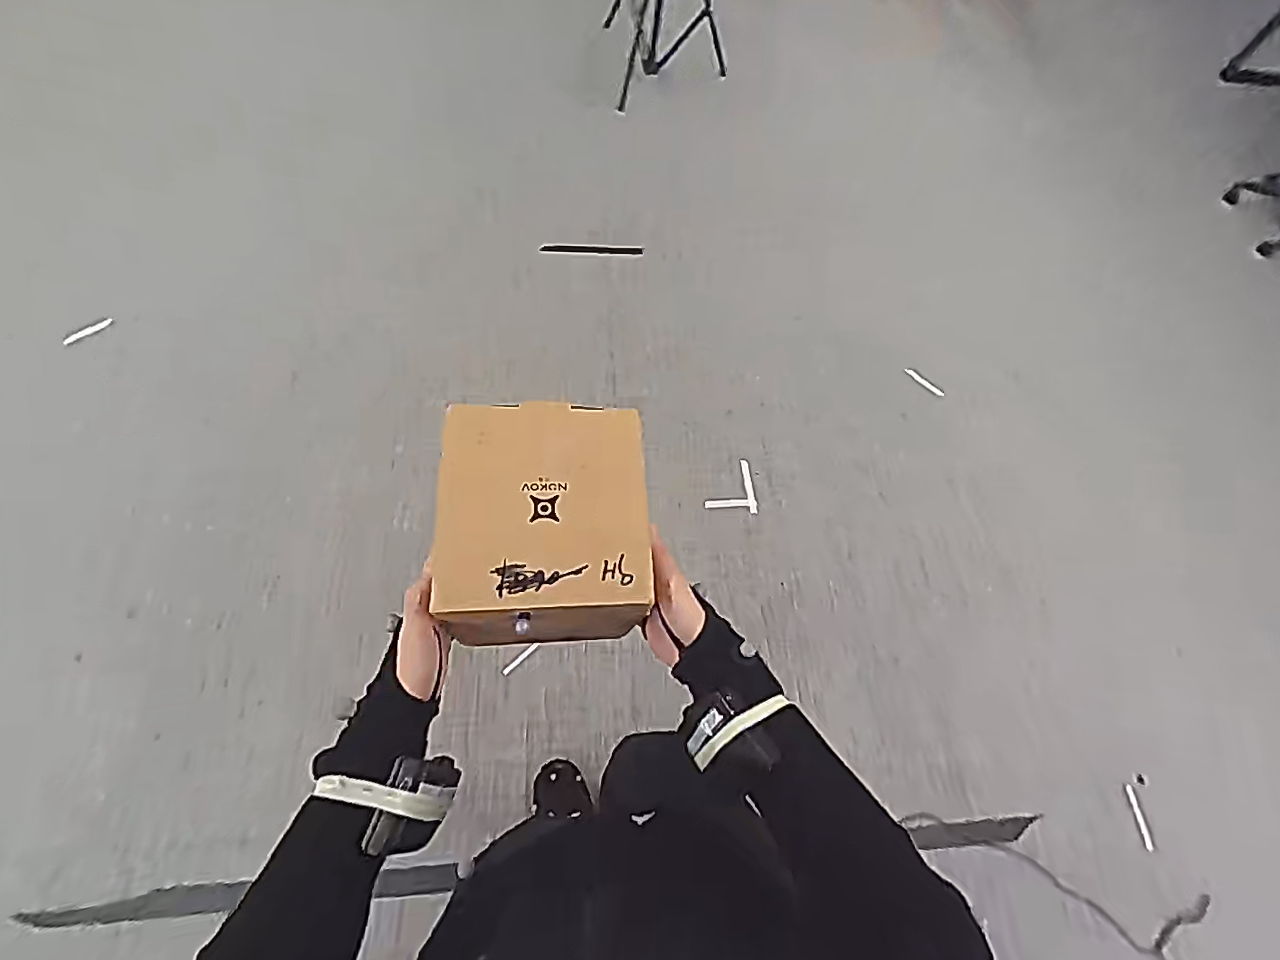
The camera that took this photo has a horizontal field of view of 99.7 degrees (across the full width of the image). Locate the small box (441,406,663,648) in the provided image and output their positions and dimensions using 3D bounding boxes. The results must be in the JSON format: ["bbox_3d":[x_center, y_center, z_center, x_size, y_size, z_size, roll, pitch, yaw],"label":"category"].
[{"bbox_3d":[-0.080,0.052,0.504,0.168,0.176,0.179,1,65,-10],"label":"small box"}]
